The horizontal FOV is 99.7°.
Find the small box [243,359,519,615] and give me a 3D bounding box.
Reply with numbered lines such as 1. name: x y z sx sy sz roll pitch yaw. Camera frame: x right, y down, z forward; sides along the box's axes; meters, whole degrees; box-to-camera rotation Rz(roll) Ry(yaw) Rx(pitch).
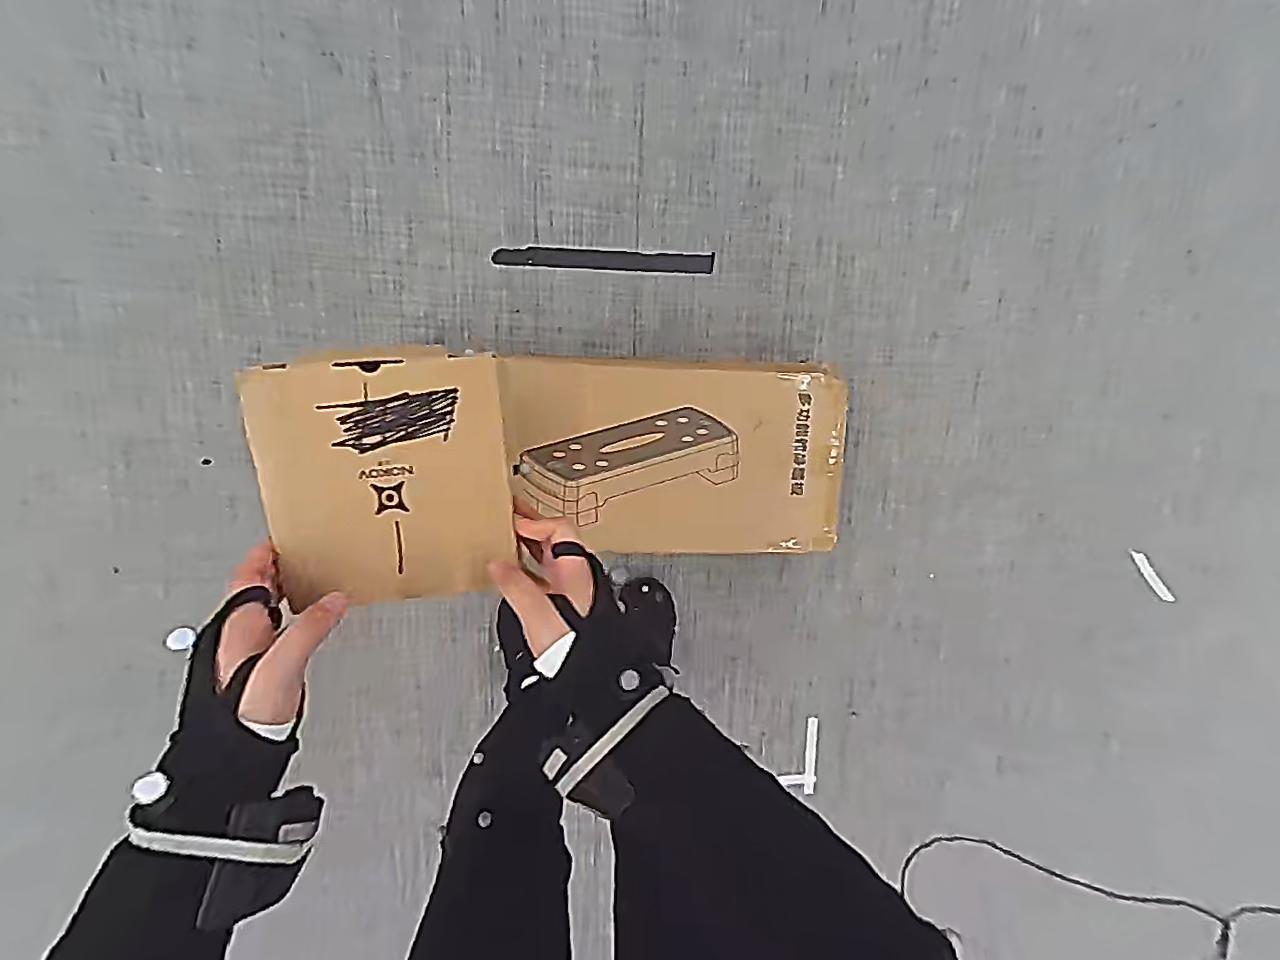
1. small box: -0.197 -0.006 0.468 0.168 0.176 0.179 -6 101 -10
